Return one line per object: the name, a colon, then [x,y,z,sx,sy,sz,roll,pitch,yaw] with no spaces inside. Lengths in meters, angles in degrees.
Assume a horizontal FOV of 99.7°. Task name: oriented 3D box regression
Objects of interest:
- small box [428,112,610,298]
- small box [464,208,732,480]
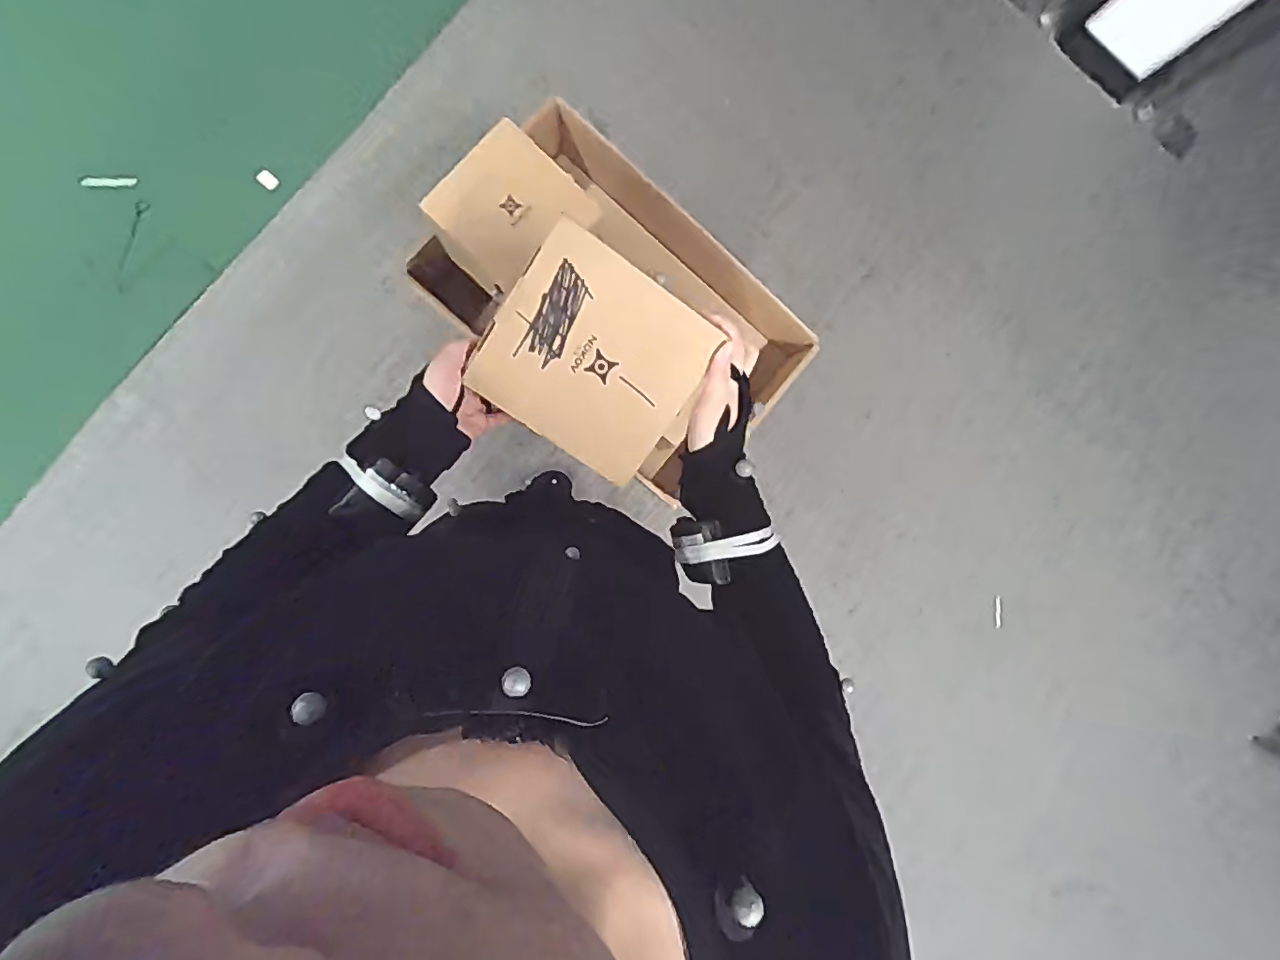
small box: [-0.163,-0.359,0.775,0.179,0.176,0.168,44,87,-6]
small box: [-0.038,-0.129,0.539,0.179,0.176,0.168,33,103,-10]
